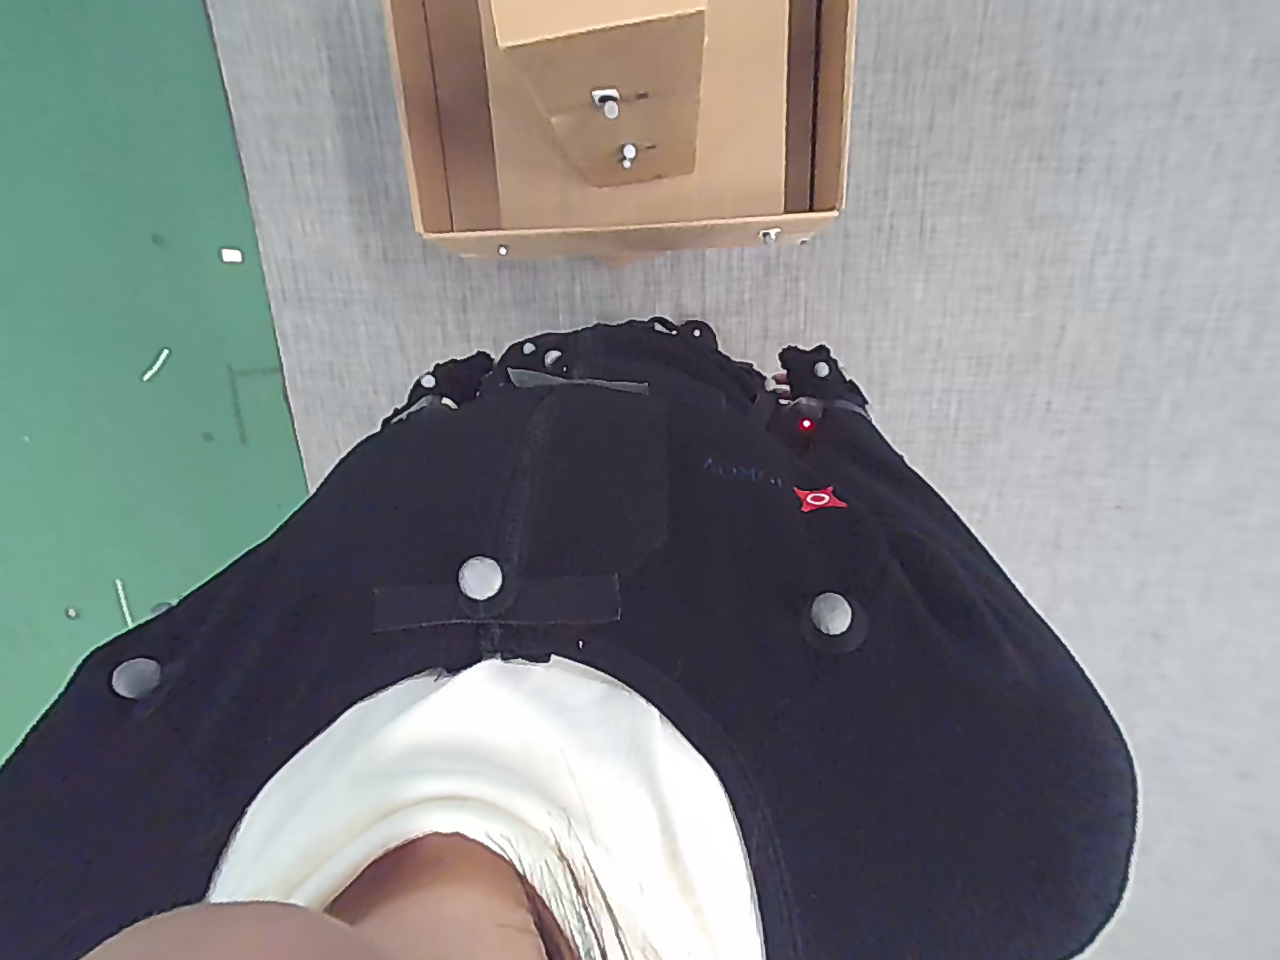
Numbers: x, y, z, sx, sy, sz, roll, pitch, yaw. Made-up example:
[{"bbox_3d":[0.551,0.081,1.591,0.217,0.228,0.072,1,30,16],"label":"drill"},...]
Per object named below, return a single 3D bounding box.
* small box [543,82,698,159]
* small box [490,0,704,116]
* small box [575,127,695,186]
[{"bbox_3d":[-0.025,-0.500,0.623,0.168,0.176,0.179,-5,106,6],"label":"small box"},{"bbox_3d":[-0.036,-0.454,0.469,0.168,0.176,0.179,-5,107,7],"label":"small box"},{"bbox_3d":[-0.012,-0.550,0.778,0.168,0.176,0.179,-5,105,7],"label":"small box"}]
